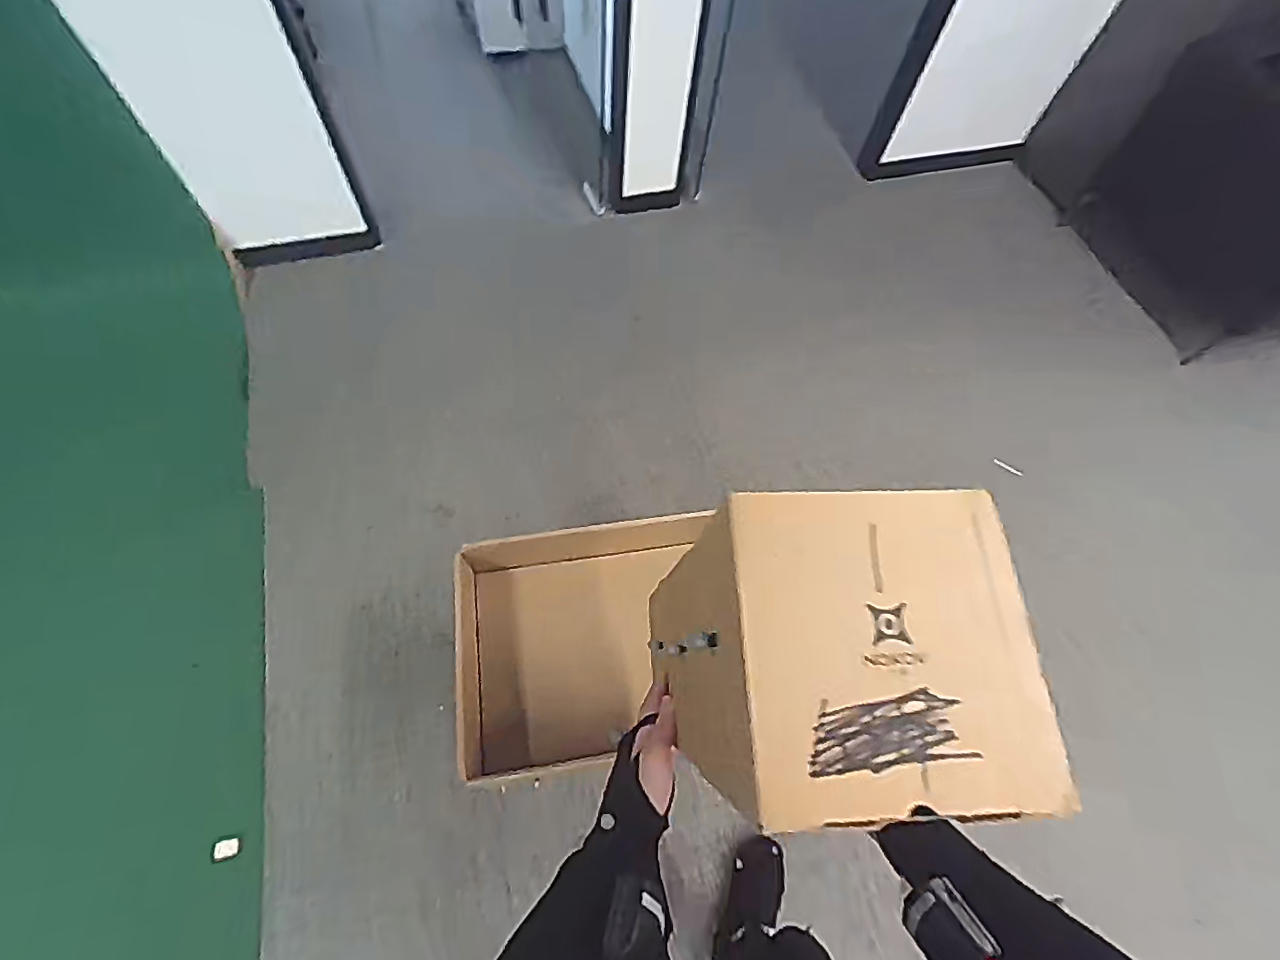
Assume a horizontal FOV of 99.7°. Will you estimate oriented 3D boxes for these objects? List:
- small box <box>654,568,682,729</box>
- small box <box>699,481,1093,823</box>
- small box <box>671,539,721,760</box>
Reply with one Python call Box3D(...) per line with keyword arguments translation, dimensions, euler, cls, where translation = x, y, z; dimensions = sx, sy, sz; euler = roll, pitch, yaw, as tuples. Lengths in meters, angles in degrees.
Box3D(translation=(0.110, 0.212, 0.676), dimensions=(0.168, 0.176, 0.179), euler=(0, 69, -6), cls="small box")
Box3D(translation=(0.138, 0.110, 0.367), dimensions=(0.168, 0.176, 0.179), euler=(0, 69, -5), cls="small box")
Box3D(translation=(0.124, 0.161, 0.522), dimensions=(0.168, 0.176, 0.179), euler=(0, 71, -5), cls="small box")
